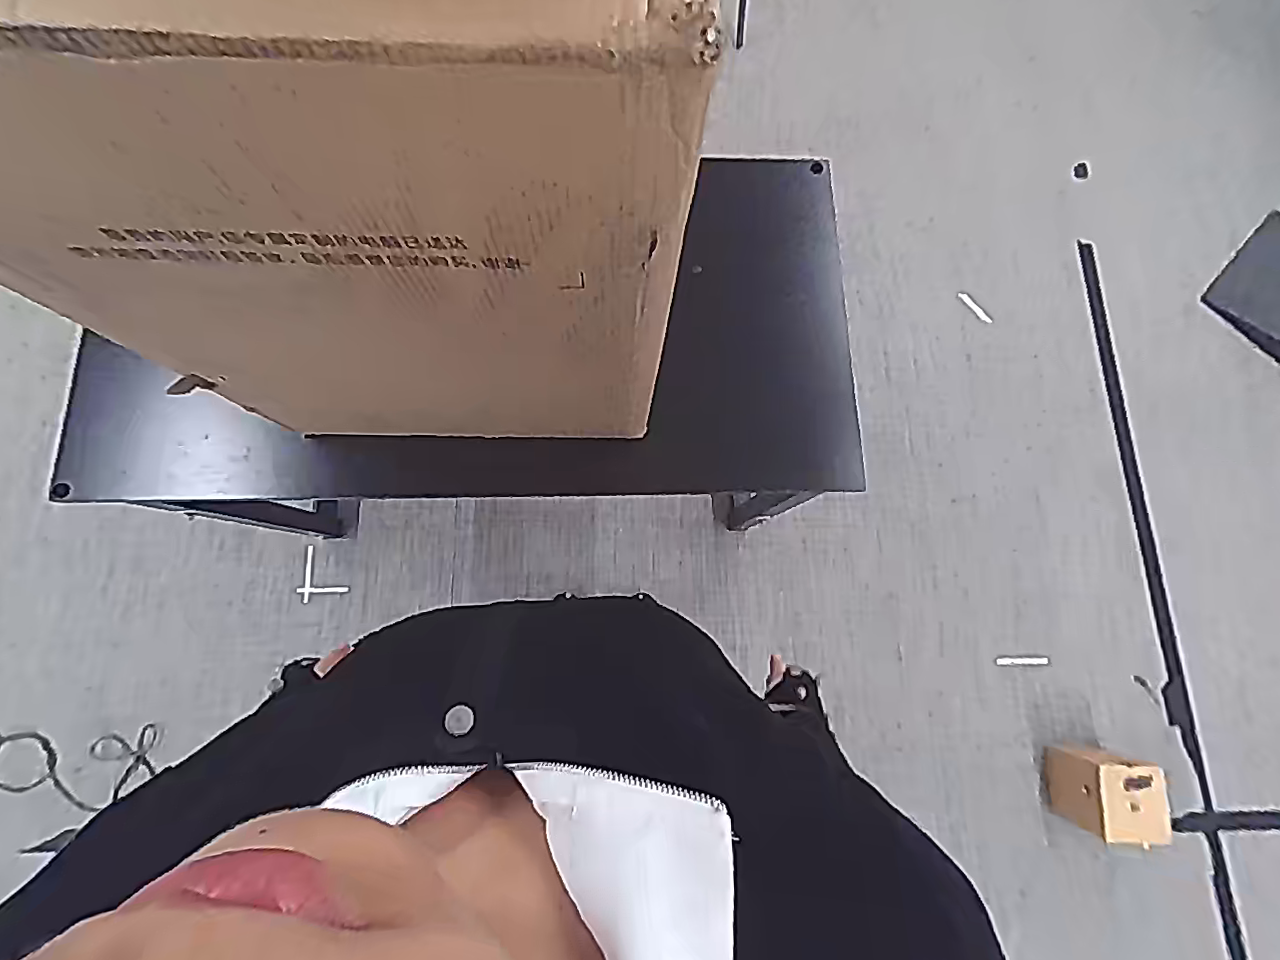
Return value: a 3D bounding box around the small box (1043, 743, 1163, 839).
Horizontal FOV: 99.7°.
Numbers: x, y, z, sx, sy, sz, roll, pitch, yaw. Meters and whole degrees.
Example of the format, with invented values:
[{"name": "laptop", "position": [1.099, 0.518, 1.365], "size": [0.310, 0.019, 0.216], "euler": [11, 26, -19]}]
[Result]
[{"name": "small box", "position": [1.184, 0.794, 1.398], "size": [0.168, 0.176, 0.179], "euler": [3, 79, -2]}]
